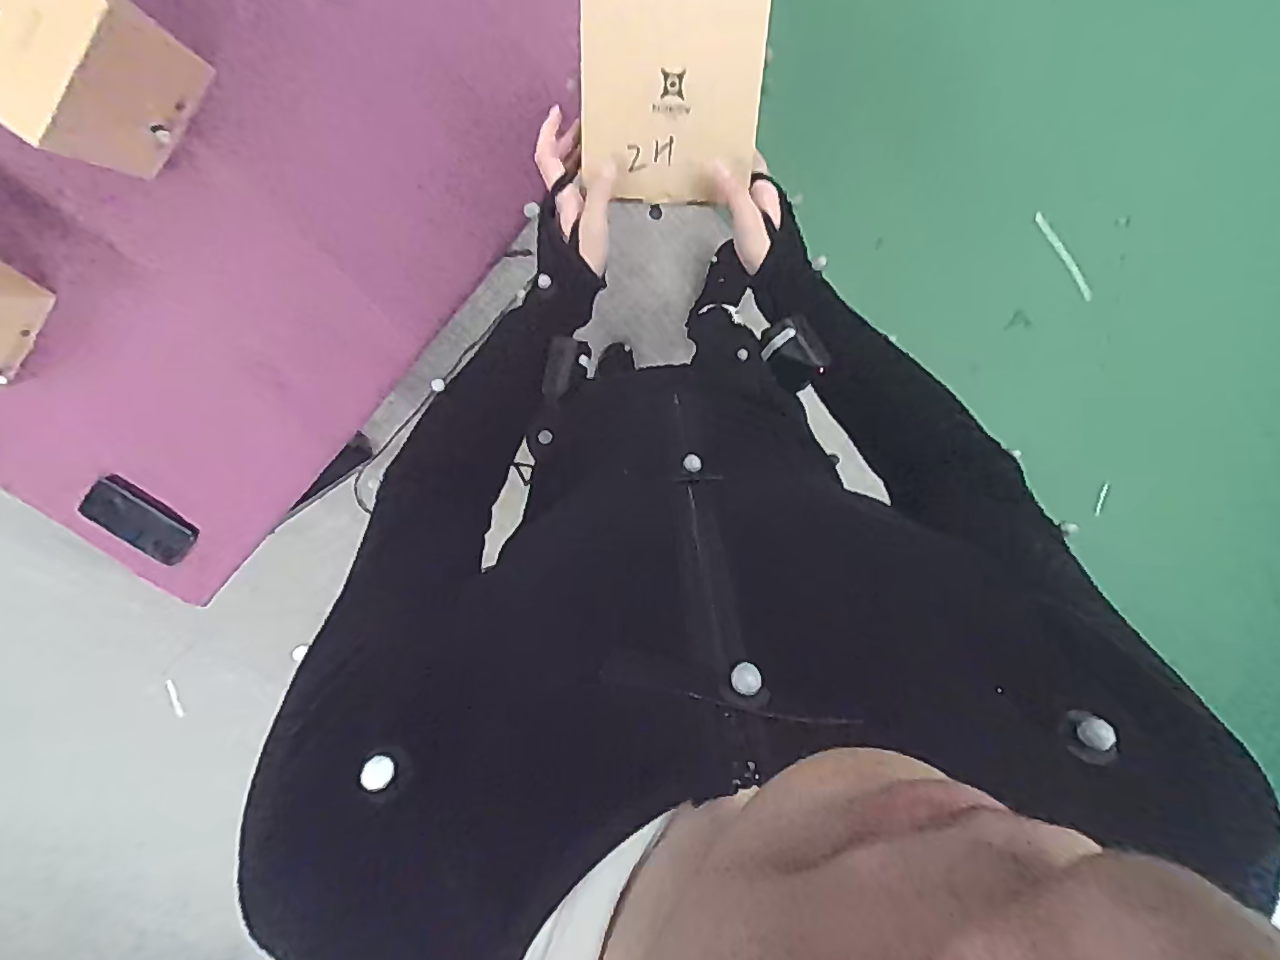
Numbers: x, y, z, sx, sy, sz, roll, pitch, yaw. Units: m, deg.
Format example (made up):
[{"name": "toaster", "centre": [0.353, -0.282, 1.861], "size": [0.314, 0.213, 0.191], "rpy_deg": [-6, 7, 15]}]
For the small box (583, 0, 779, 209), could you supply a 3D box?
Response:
[{"name": "small box", "centre": [0.028, -0.383, 0.557], "size": [0.168, 0.176, 0.179], "rpy_deg": [2, 117, -4]}]

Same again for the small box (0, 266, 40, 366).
[{"name": "small box", "centre": [-0.896, -0.213, 0.635], "size": [0.179, 0.176, 0.168], "rpy_deg": [38, 99, -14]}]

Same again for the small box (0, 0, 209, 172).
[{"name": "small box", "centre": [-0.638, -0.475, 0.586], "size": [0.179, 0.176, 0.168], "rpy_deg": [38, 100, -15]}]
